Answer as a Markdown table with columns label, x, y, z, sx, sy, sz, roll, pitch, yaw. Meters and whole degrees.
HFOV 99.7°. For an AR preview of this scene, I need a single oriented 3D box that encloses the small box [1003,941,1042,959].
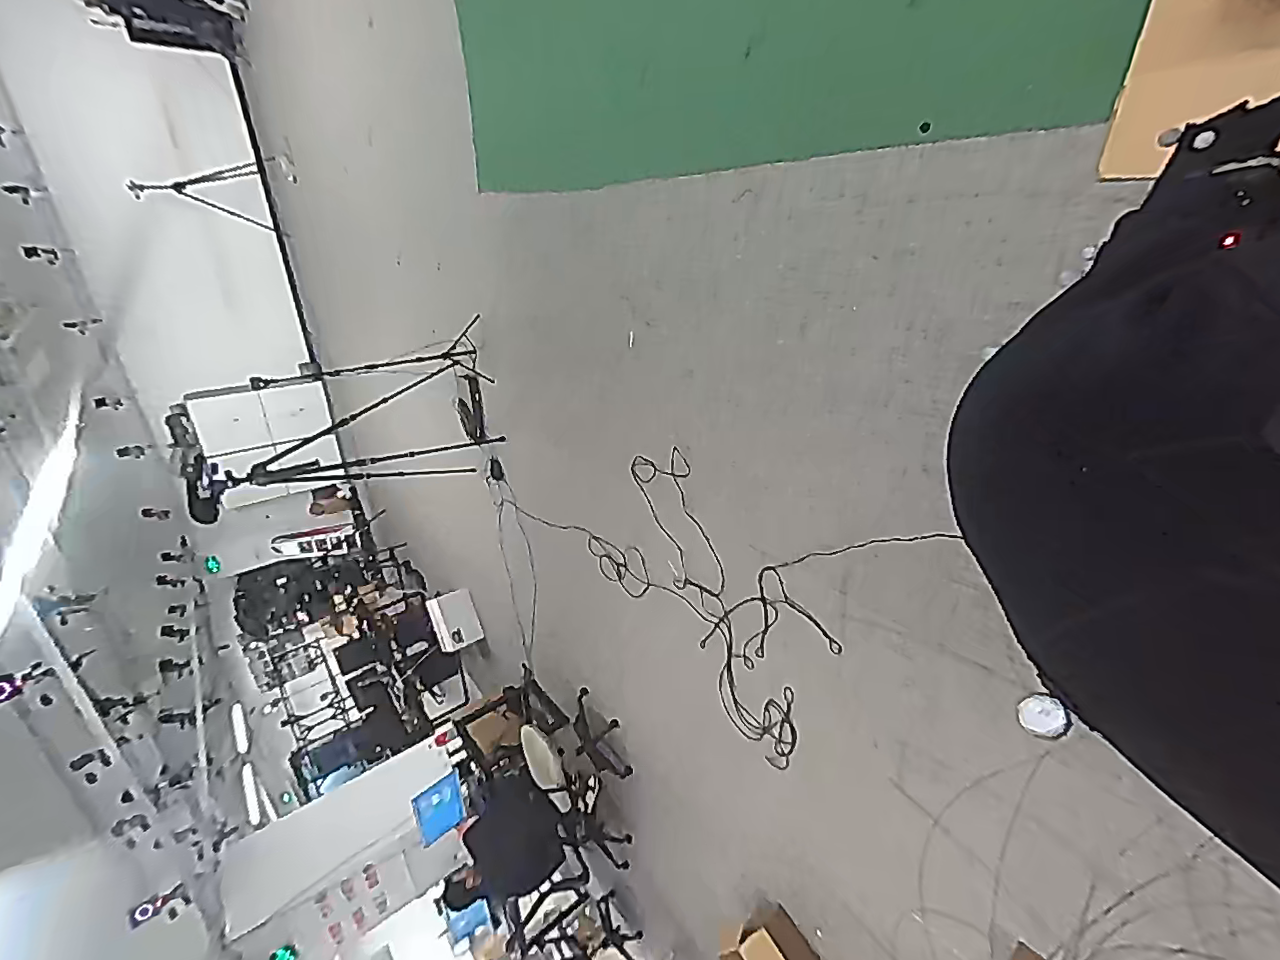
| label | x | y | z | sx | sy | sz | roll | pitch | yaw |
| --- | --- | --- | --- | --- | --- | --- | --- | --- | --- |
| small box | 1.179 | 1.572 | 1.635 | 0.168 | 0.176 | 0.179 | 20 | 121 | 47 |
